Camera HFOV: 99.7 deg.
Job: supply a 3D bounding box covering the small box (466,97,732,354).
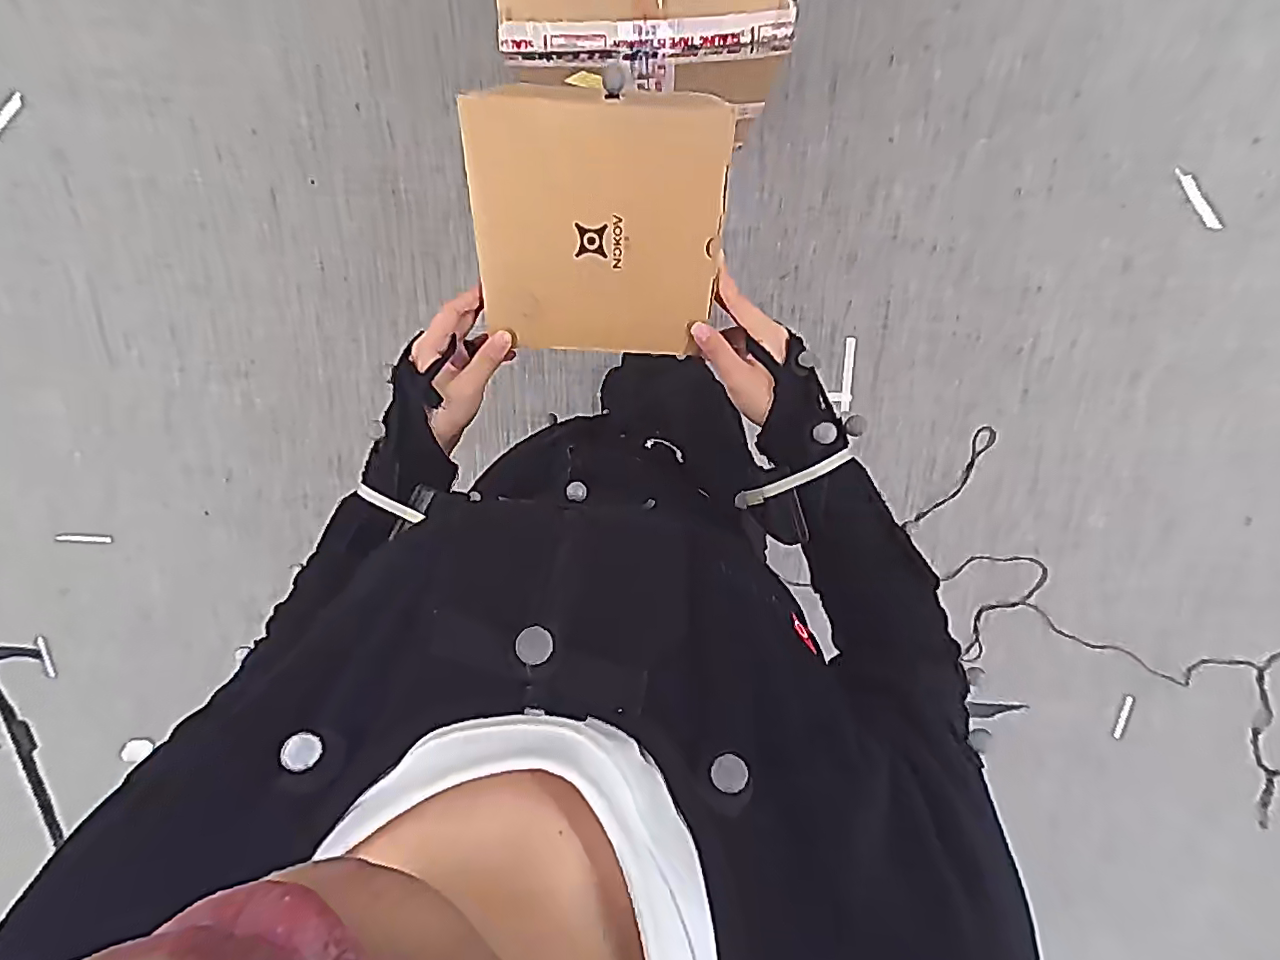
[{"bbox_3d":[-0.029,-0.220,0.460,0.179,0.176,0.168,2,126,-2],"label":"small box"}]
